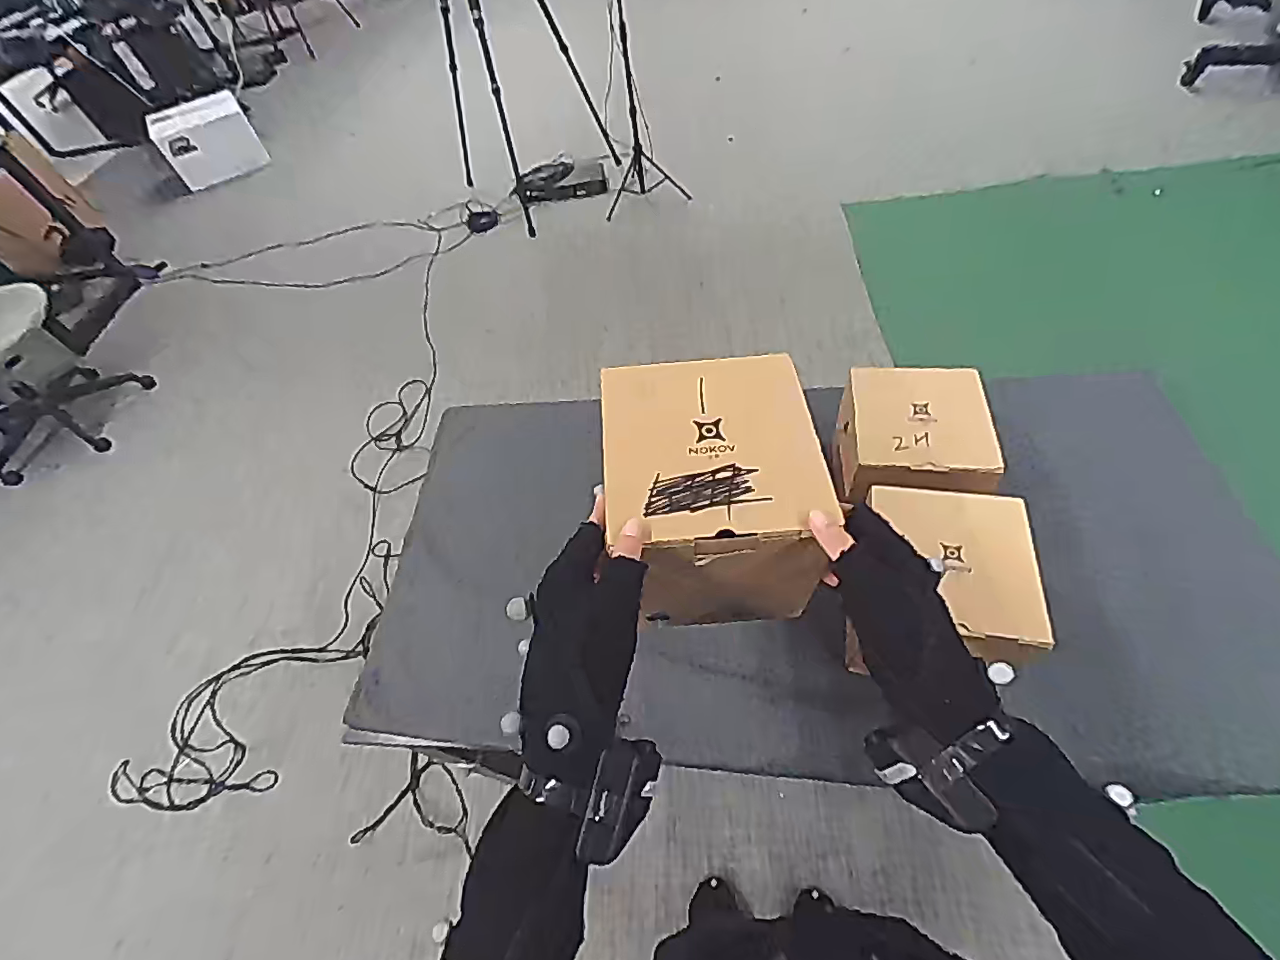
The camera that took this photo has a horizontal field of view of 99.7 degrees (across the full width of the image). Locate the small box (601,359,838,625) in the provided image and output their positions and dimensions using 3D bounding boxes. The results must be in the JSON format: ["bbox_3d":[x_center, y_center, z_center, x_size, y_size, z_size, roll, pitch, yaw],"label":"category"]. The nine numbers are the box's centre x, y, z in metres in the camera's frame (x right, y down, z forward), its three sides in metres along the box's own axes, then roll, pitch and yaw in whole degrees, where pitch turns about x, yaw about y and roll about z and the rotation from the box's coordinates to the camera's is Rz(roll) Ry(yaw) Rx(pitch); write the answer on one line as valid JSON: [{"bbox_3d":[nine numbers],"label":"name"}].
[{"bbox_3d":[0.057,0.020,0.481,0.168,0.176,0.179,-5,54,1],"label":"small box"}]
